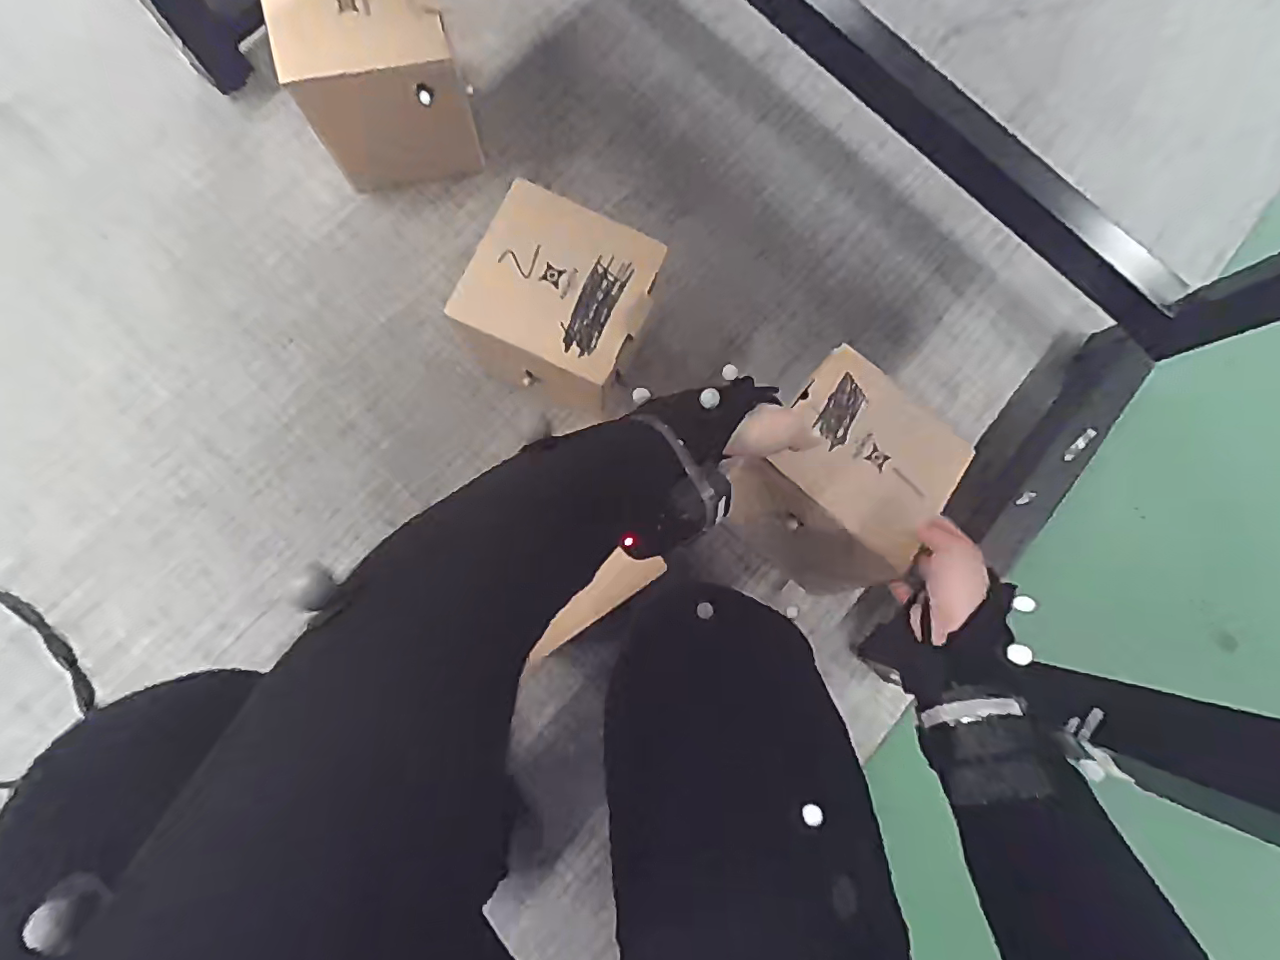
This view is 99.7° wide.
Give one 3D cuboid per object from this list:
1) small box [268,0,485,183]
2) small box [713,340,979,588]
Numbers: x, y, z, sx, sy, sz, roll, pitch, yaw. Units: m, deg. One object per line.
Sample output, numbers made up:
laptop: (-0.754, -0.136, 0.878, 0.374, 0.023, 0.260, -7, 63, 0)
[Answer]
small box: (-0.301, -0.485, 0.640, 0.179, 0.176, 0.168, -15, 83, -7)
small box: (0.204, -0.005, 0.578, 0.179, 0.176, 0.168, 38, 67, 5)
